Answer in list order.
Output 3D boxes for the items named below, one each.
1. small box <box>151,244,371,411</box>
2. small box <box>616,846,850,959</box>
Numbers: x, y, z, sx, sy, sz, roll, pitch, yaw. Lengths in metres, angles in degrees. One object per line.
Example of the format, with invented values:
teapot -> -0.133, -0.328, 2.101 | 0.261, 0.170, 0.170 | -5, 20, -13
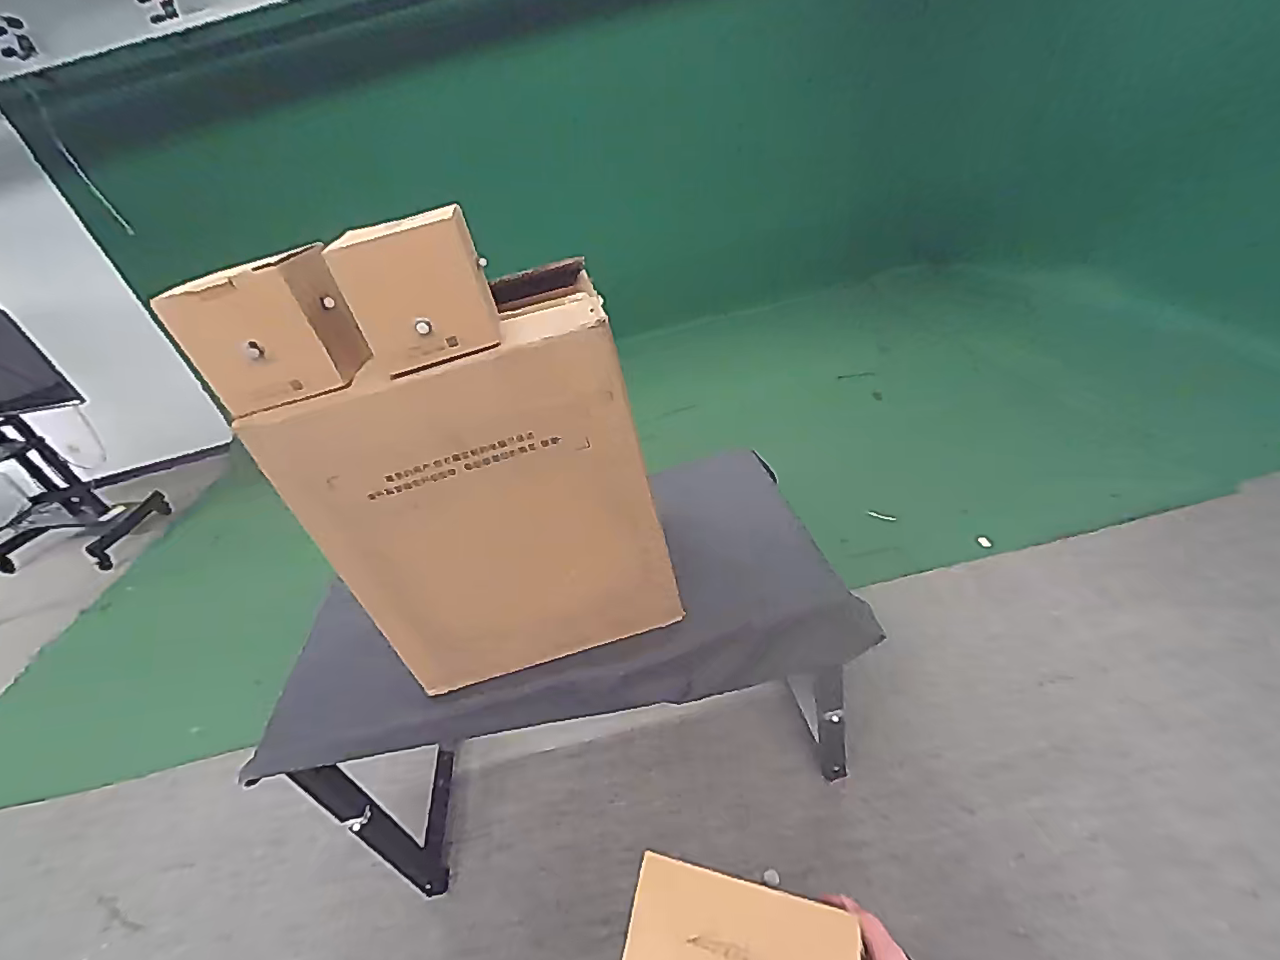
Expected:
small box -> -0.517, -0.215, 0.775 | 0.168, 0.176, 0.179 | -16, 34, -1
small box -> 0.073, 0.424, 0.433 | 0.168, 0.176, 0.179 | 4, 53, 18
